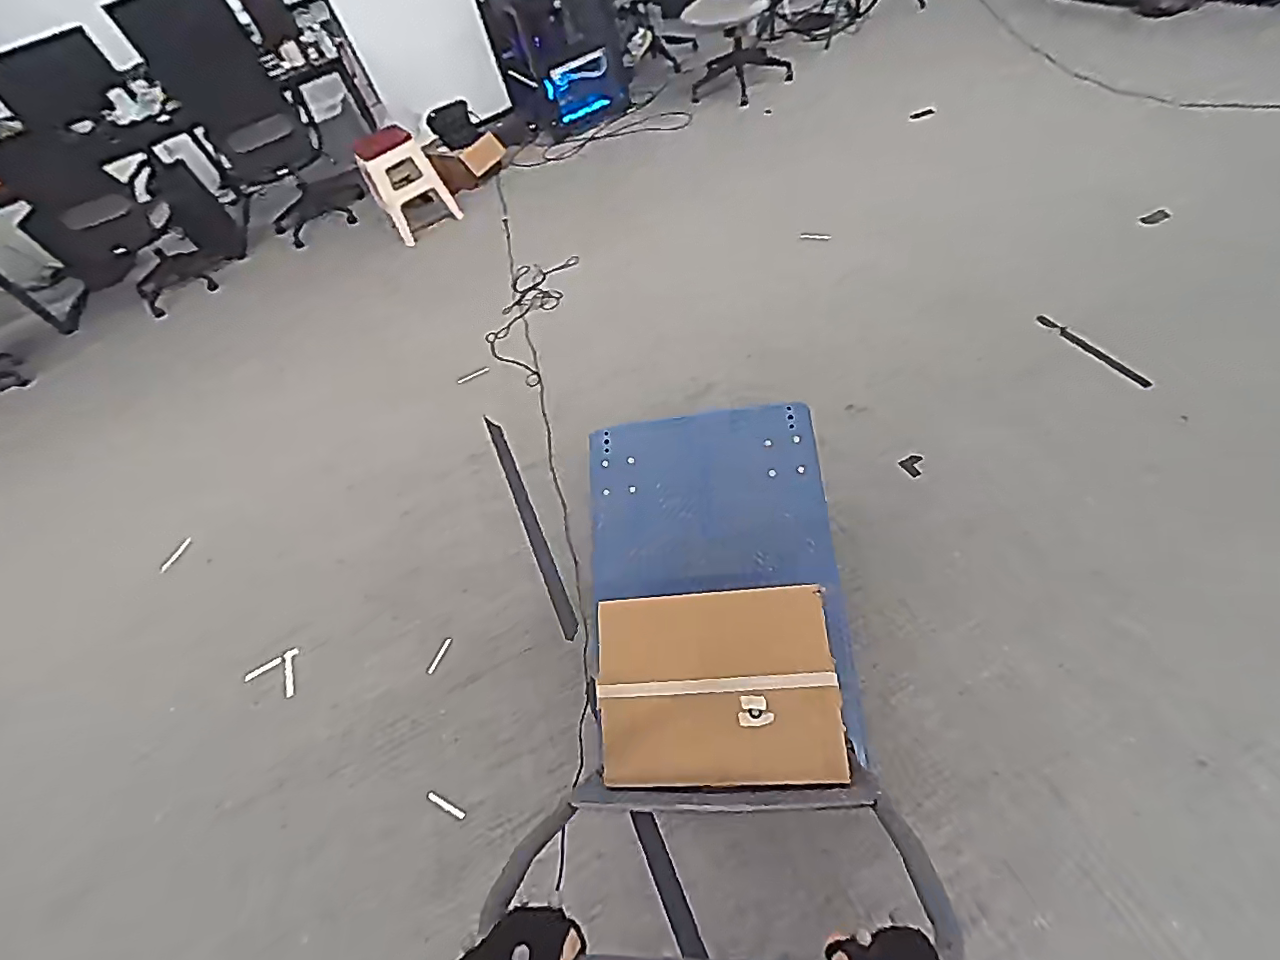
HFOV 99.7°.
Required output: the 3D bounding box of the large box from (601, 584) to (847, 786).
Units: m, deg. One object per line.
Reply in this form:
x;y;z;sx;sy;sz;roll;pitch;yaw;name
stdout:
0.157;0.402;1.088;0.408;0.320;0.320;-7;72;9;large box
